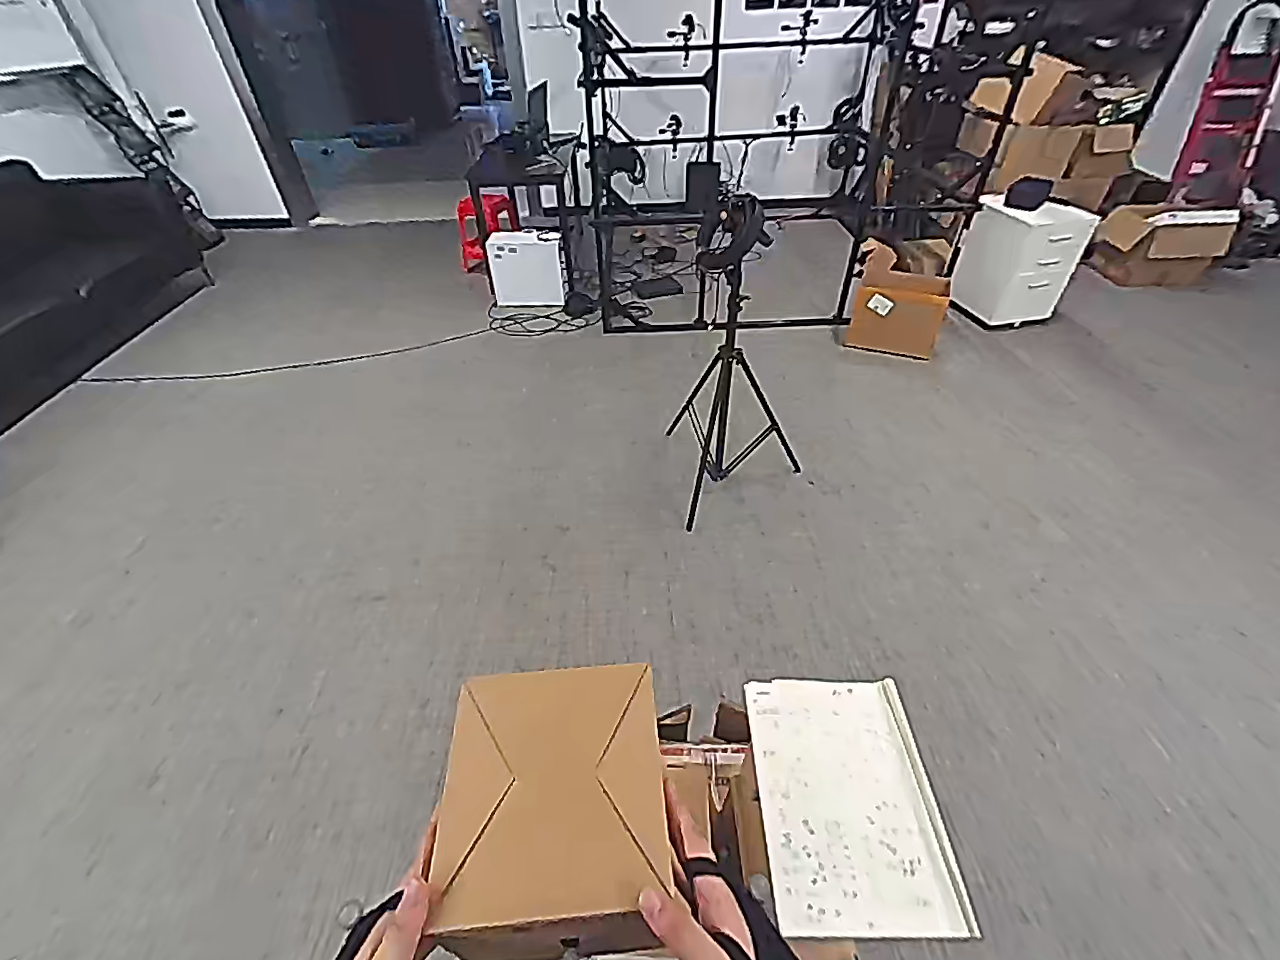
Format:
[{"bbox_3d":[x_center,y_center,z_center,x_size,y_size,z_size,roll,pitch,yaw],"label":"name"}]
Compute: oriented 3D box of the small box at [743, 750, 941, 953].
[{"bbox_3d":[0.229,0.461,0.673,0.168,0.176,0.179,1,44,0],"label":"small box"}]
